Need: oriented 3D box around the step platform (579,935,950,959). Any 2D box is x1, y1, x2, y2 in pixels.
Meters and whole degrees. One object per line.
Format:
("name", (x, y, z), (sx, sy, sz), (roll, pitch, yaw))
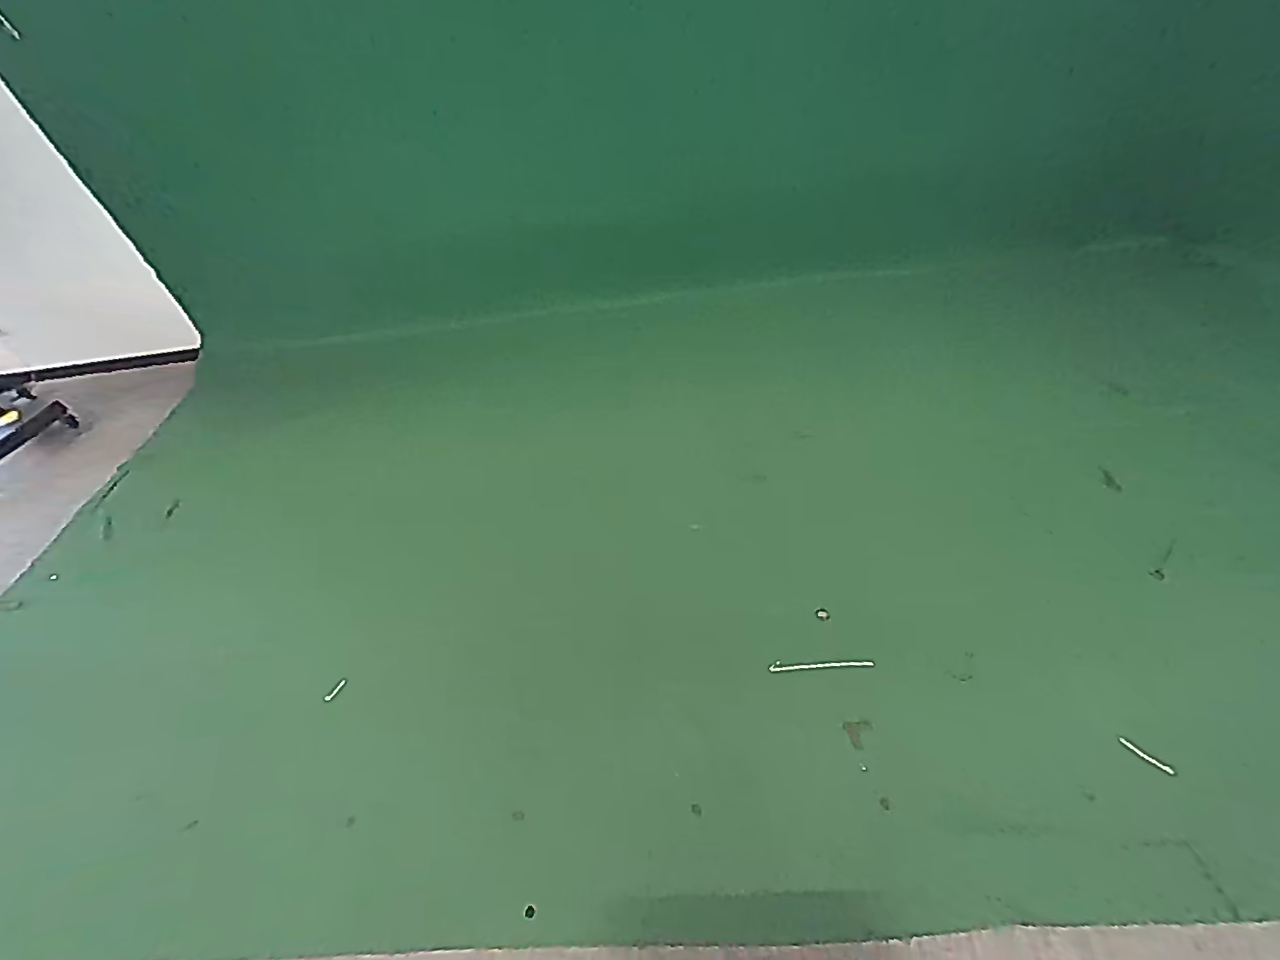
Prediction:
("step platform", (0.214, 0.987, 0.931), (0.684, 0.204, 0.286), (-6, 47, 4))
